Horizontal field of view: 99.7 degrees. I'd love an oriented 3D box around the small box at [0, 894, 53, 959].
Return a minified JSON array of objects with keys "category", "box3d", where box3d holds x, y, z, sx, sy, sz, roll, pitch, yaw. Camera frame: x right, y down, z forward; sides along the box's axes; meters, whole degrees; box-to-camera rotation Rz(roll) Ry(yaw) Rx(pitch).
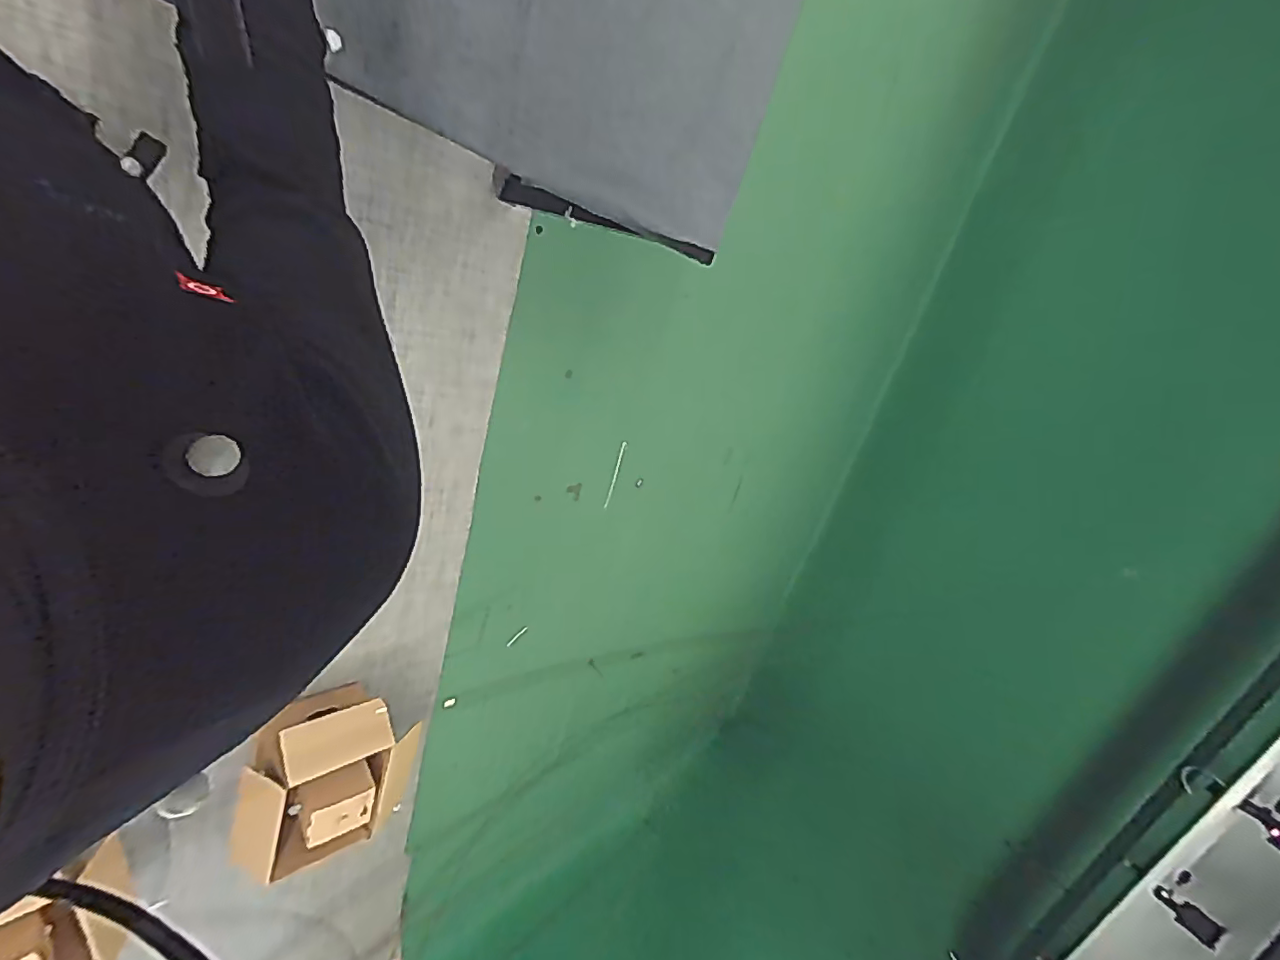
[{"category":"small box","box3d":[-1.444,1.078,1.203,0.168,0.176,0.179,-11,123,-43]}]
